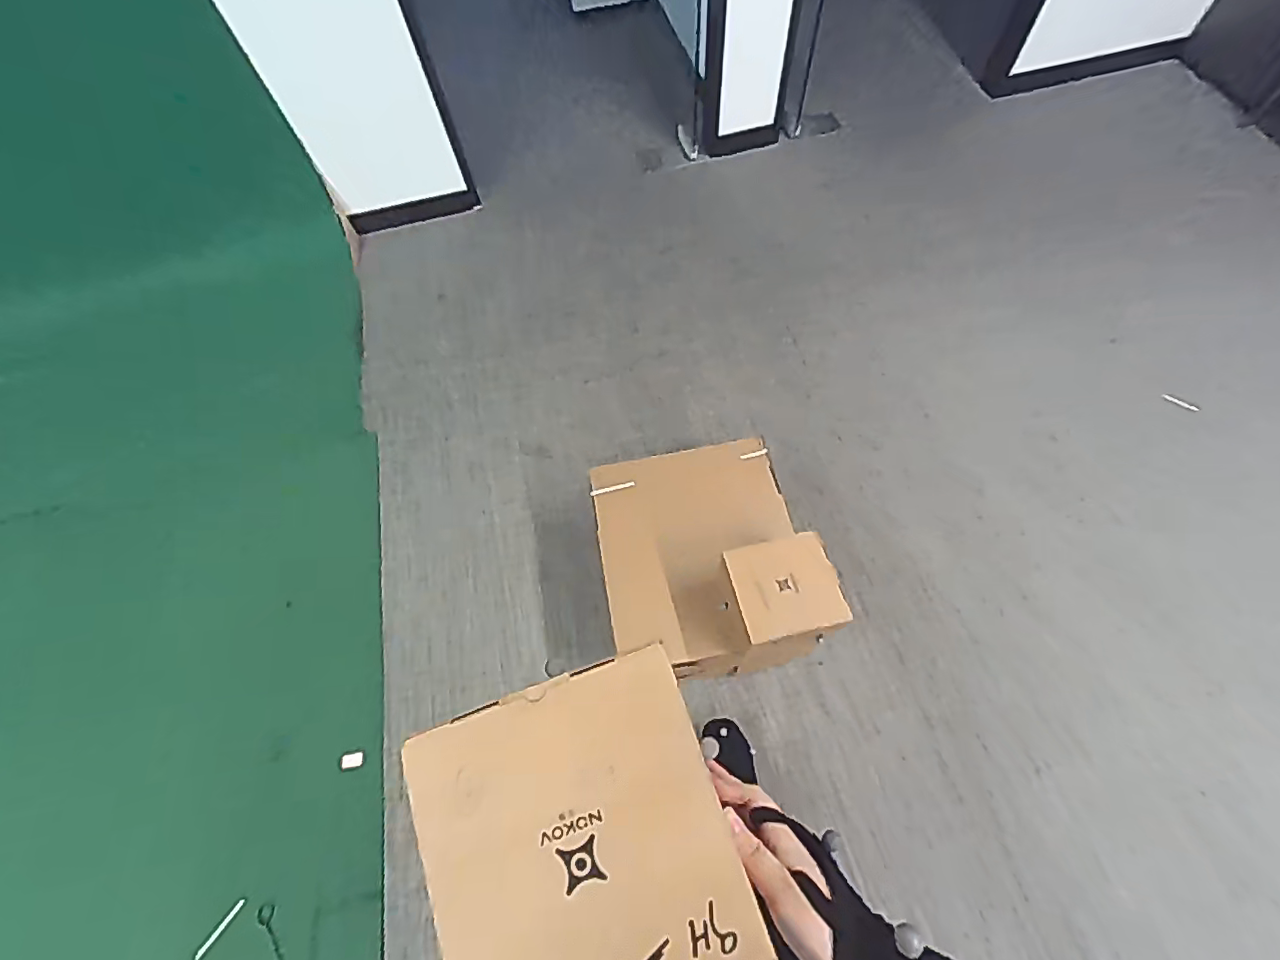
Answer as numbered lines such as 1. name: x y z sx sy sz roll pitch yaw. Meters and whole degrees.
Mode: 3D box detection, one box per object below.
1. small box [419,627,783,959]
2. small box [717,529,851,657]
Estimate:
1. small box: -0.029 0.221 0.379 0.168 0.176 0.179 -19 72 -6
2. small box: 0.248 0.210 0.979 0.179 0.176 0.168 -13 62 -3
